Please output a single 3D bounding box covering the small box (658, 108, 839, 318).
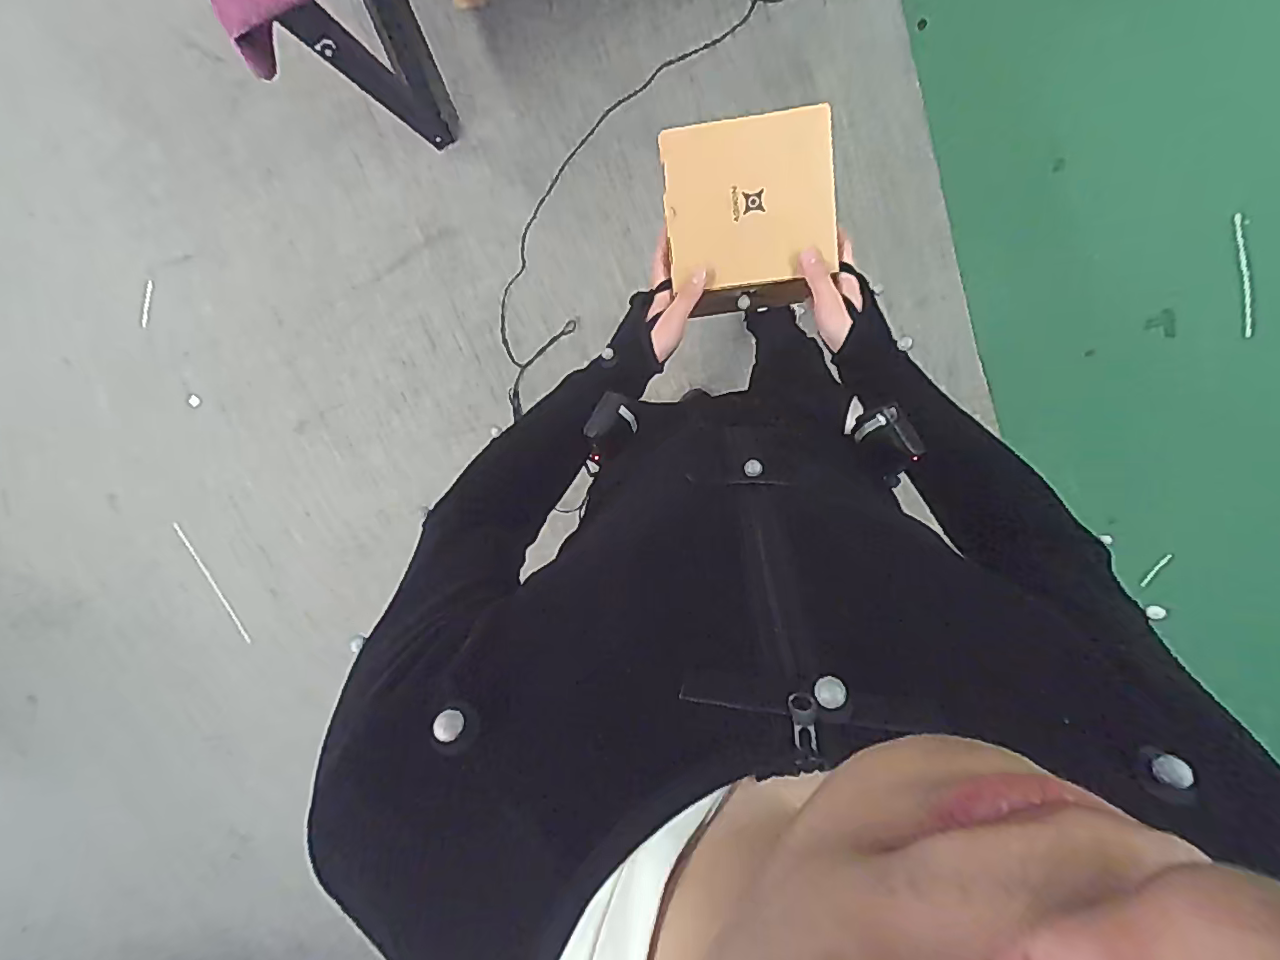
[{"bbox_3d":[0.120,-0.294,0.635,0.179,0.176,0.168,-6,97,7],"label":"small box"}]
